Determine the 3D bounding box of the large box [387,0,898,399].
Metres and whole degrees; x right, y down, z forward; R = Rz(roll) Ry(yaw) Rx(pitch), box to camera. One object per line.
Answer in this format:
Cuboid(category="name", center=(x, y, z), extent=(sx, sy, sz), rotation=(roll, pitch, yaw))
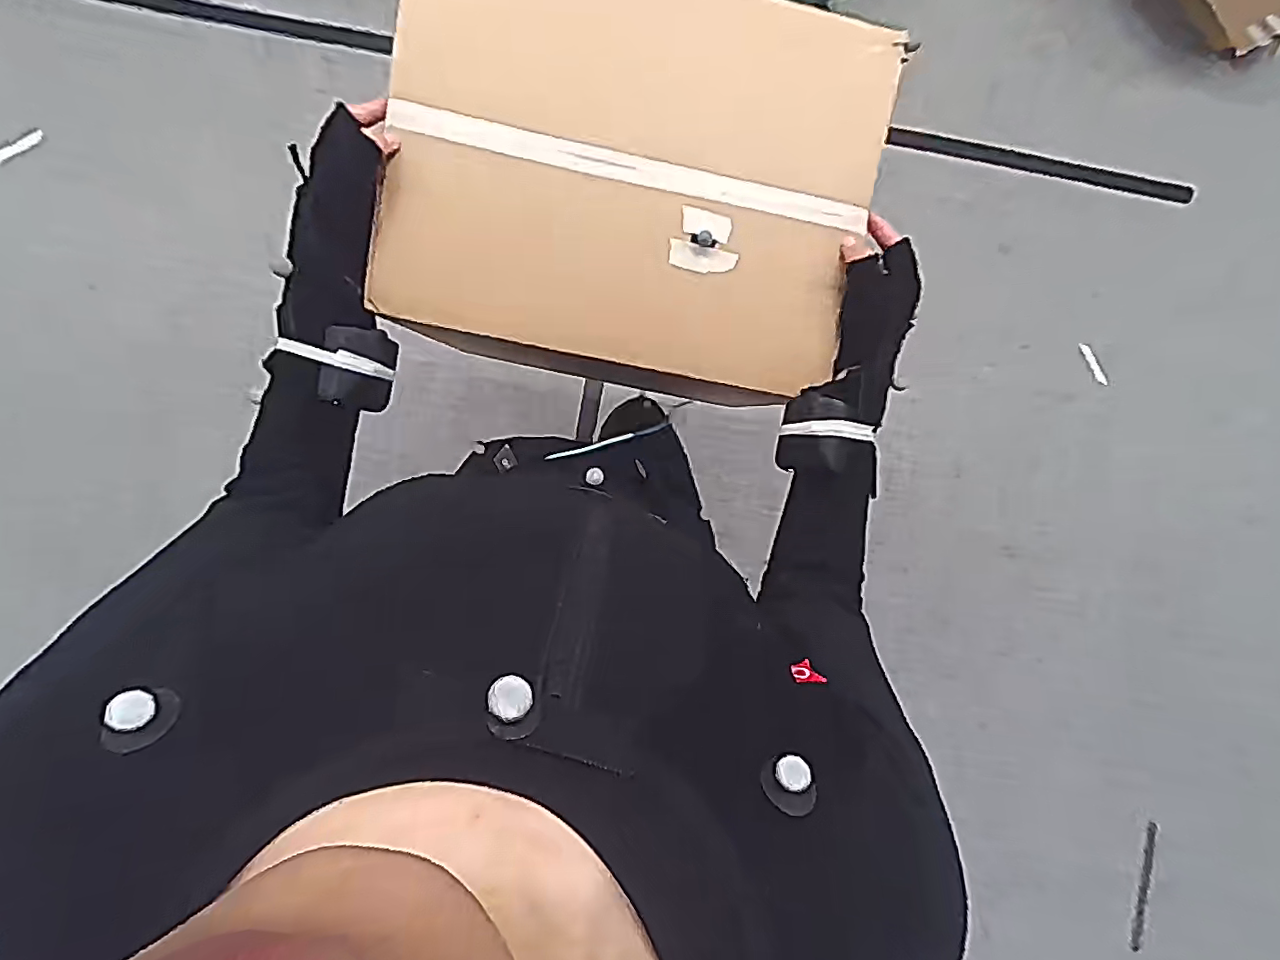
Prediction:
Cuboid(category="large box", center=(-0.010, -0.282, 0.609), extent=(0.408, 0.320, 0.320), rotation=(11, 97, -6))
